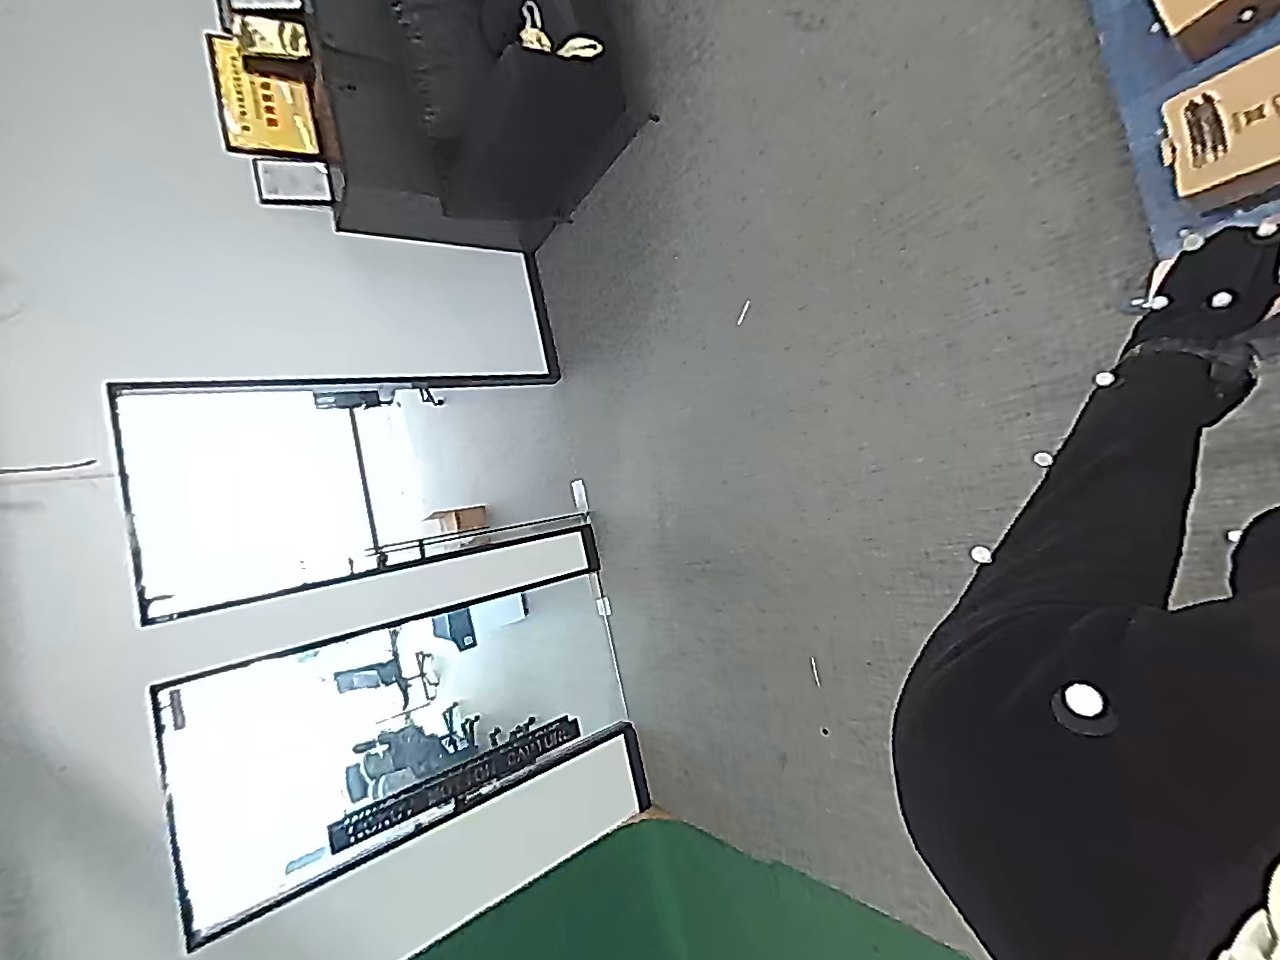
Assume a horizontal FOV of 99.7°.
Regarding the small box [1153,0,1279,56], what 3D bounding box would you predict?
[{"bbox_3d":[0.957,-0.840,0.880,0.168,0.176,0.179,-27,76,52],"label":"small box"}]
